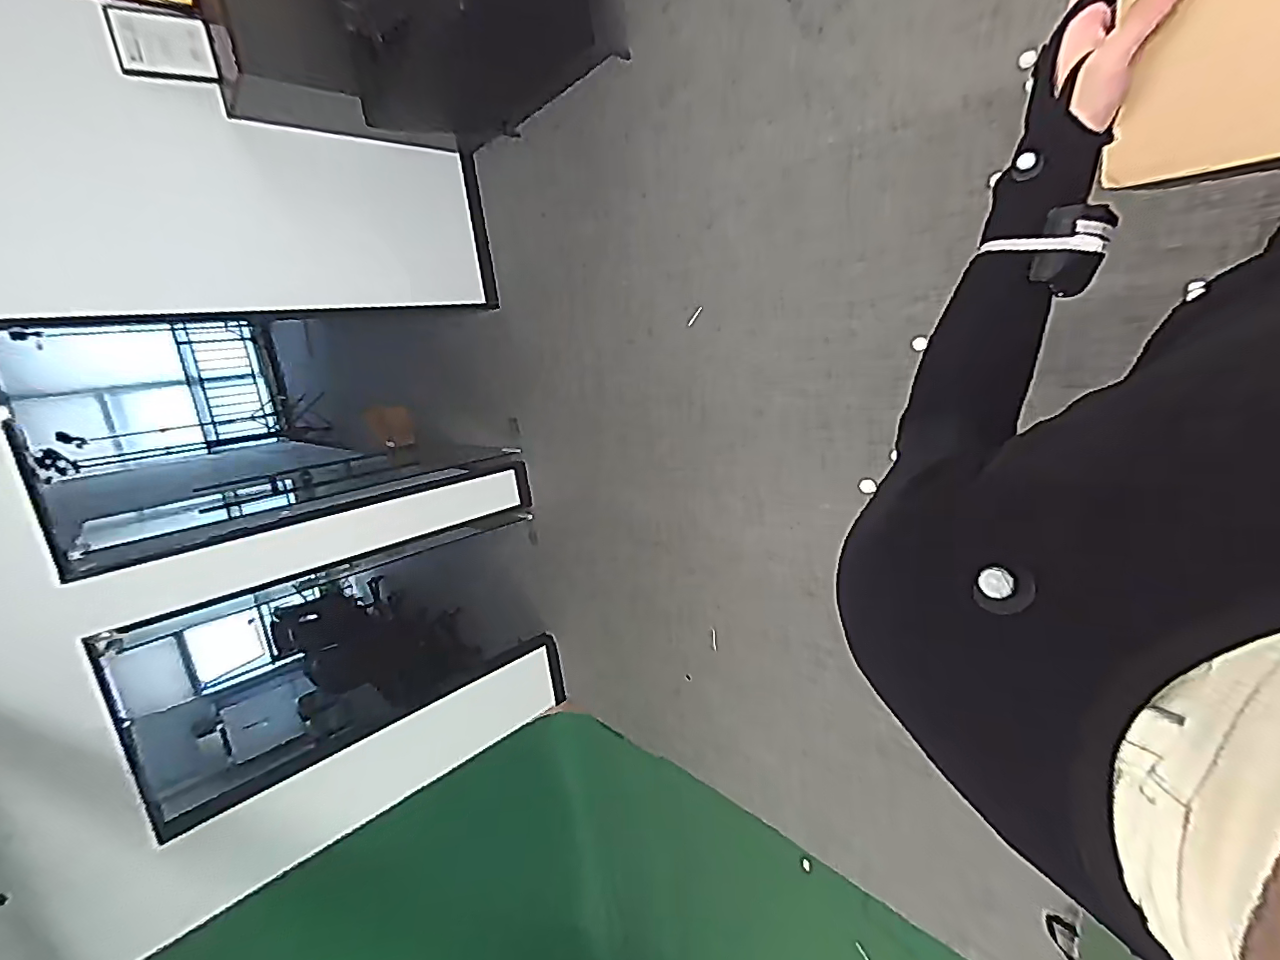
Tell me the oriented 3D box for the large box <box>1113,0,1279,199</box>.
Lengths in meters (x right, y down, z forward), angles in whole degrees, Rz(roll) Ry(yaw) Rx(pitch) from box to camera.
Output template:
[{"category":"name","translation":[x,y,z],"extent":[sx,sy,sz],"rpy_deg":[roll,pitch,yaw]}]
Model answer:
[{"category":"large box","translation":[0.602,-0.405,0.353],"extent":[0.408,0.320,0.320],"rpy_deg":[10,116,45]}]
